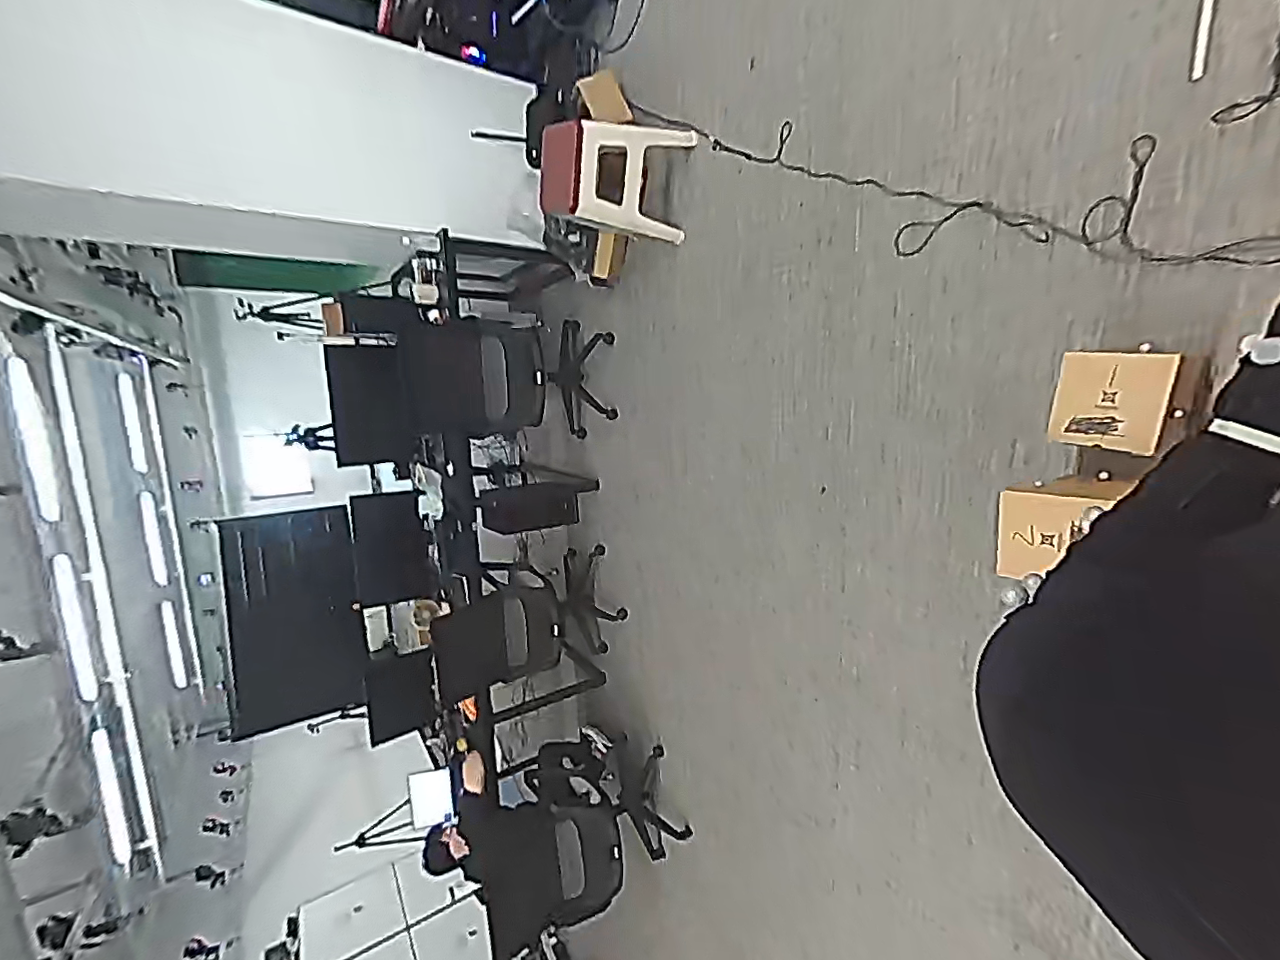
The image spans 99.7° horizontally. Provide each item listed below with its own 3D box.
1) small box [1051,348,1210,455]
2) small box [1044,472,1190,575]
[{"bbox_3d":[0.913,-0.154,1.009,0.168,0.176,0.179,22,115,53],"label":"small box"},{"bbox_3d":[0.924,0.076,1.051,0.179,0.176,0.168,1,98,57],"label":"small box"}]
